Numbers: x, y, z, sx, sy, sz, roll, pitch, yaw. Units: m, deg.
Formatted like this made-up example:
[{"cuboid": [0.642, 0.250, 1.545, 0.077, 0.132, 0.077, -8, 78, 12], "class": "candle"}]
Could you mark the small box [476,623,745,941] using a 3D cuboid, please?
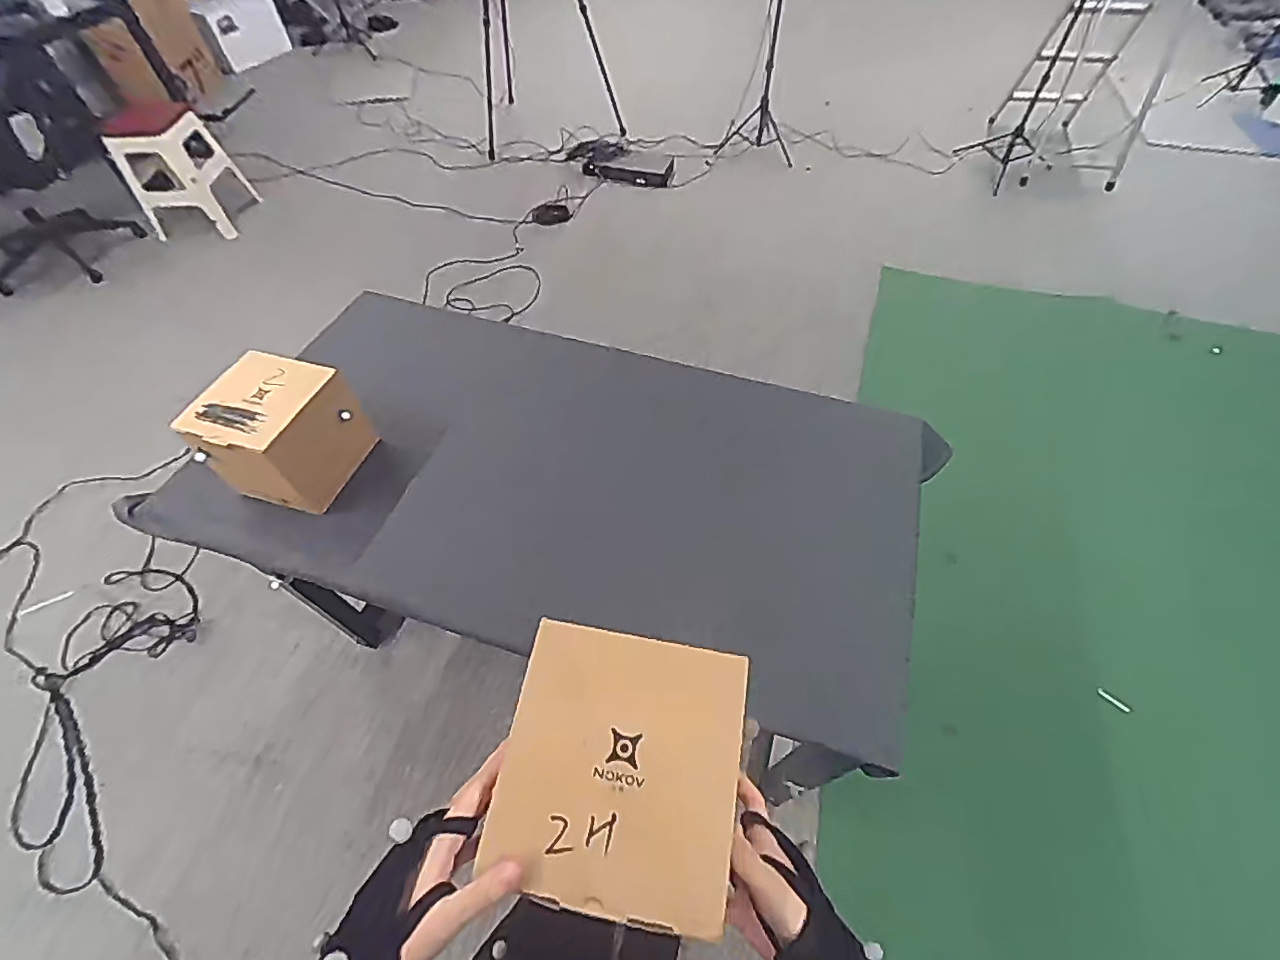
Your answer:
[{"cuboid": [-0.012, 0.240, 0.456, 0.168, 0.176, 0.179, 8, 62, 7], "class": "small box"}]
